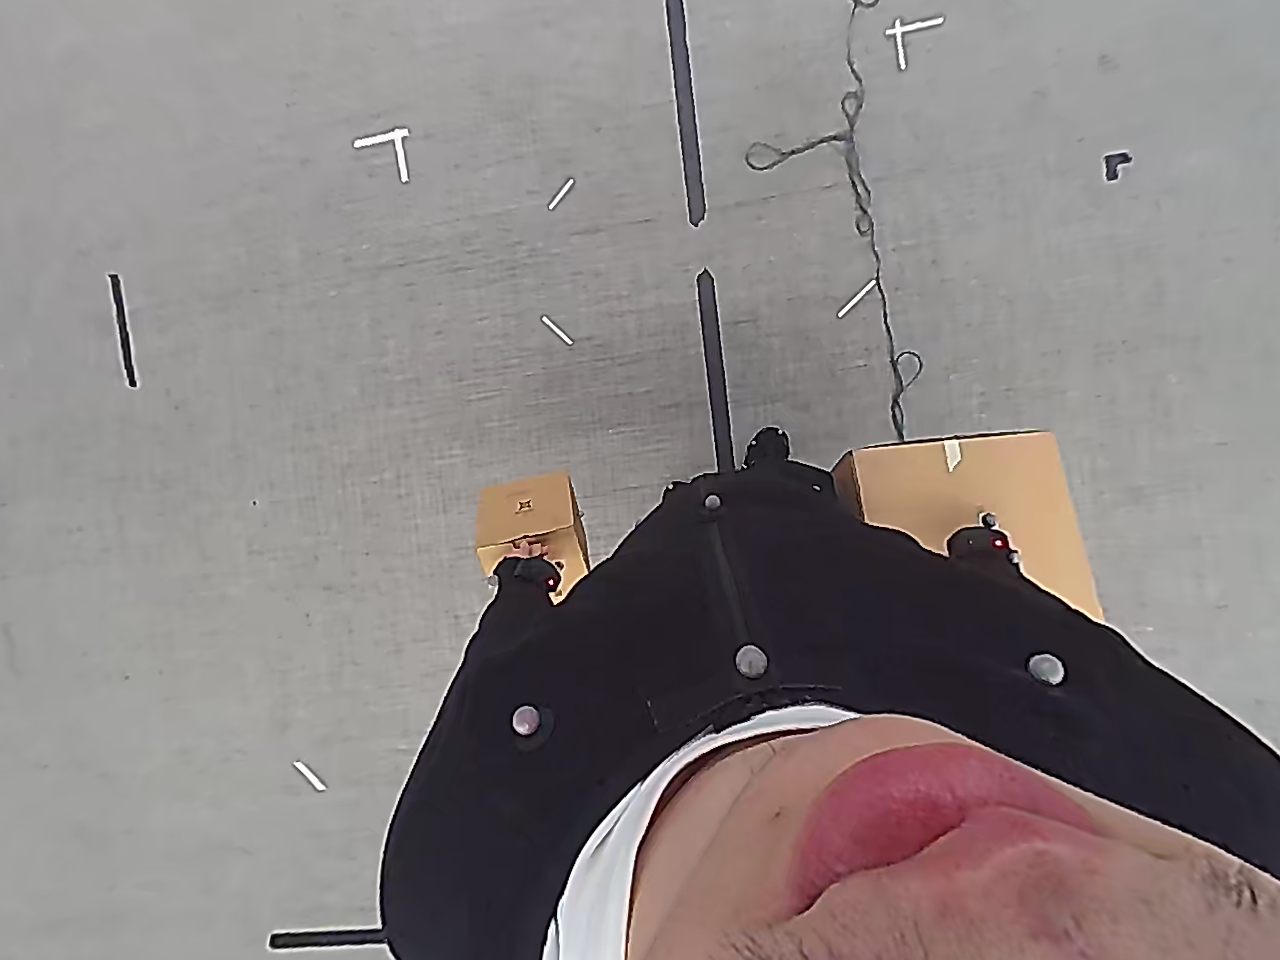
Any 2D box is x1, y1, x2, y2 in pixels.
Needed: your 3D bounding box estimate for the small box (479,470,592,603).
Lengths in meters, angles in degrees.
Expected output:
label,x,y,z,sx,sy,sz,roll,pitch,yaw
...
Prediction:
label,x,y,z,sx,sy,sz,roll,pitch,yaw
small box,-0.190,0.109,1.006,0.168,0.179,0.176,-12,124,-4
